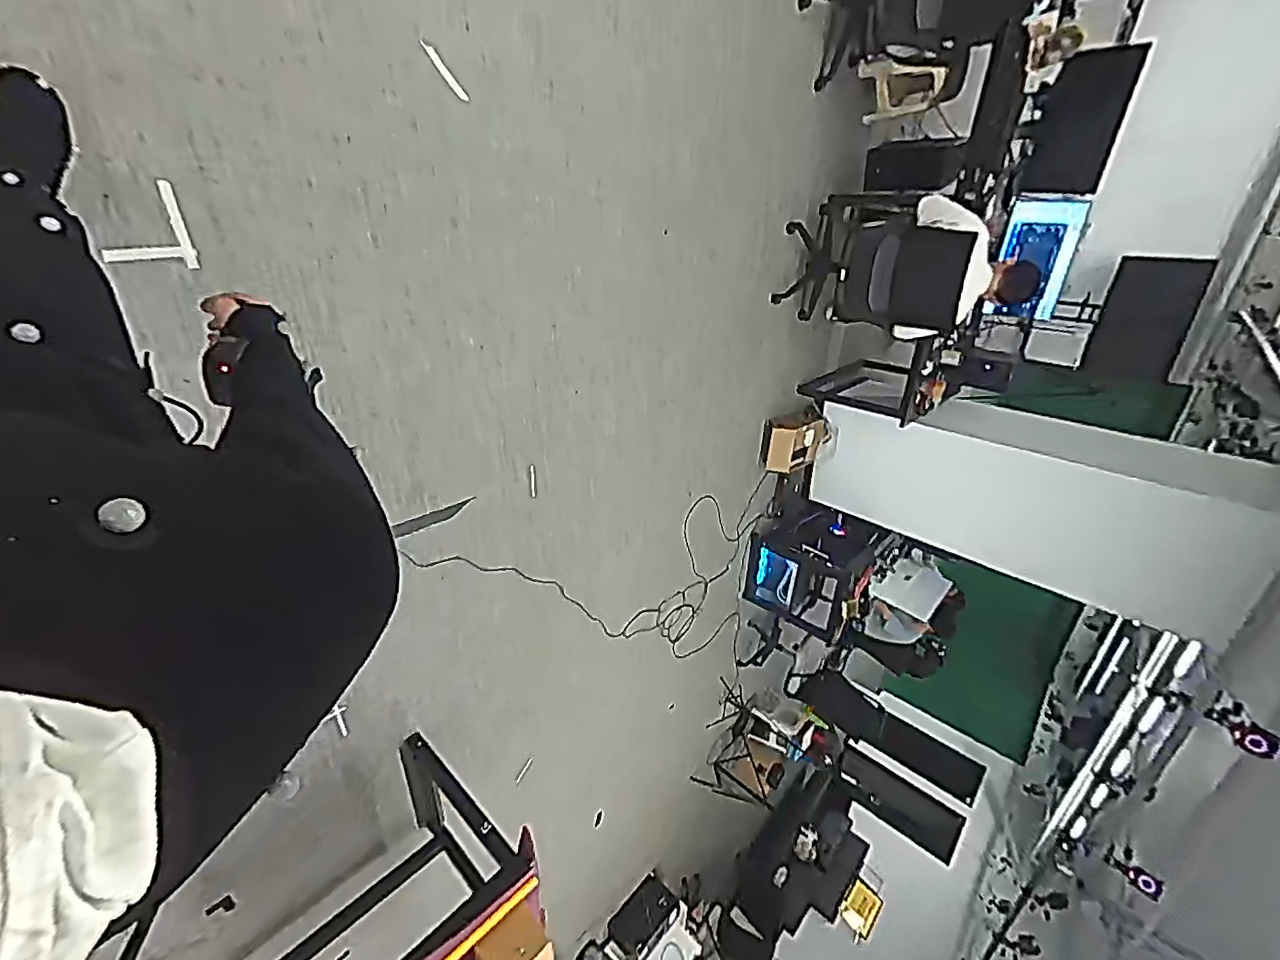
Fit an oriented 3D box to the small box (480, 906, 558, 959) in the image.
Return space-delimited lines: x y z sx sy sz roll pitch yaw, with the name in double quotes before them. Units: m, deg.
"small box" -0.366 1.458 1.631 0.179 0.176 0.168 -24 126 -41
